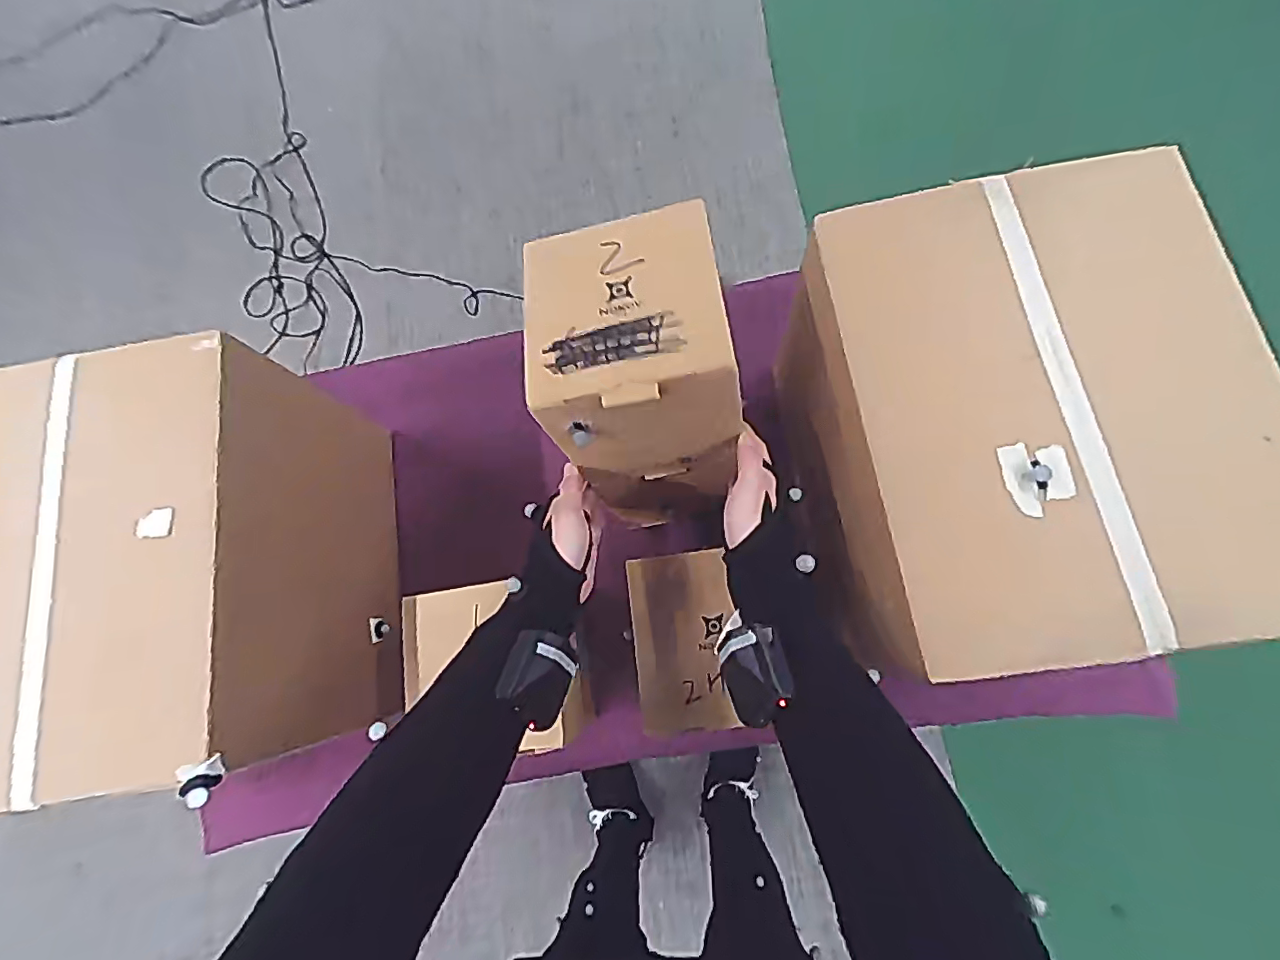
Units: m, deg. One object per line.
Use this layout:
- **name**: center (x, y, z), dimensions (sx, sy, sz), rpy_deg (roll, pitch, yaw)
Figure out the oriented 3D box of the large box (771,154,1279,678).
- **large box**: center (0.350, -0.039, 0.576), dimensions (0.320, 0.320, 0.408), rpy_deg (-9, 77, 4)
